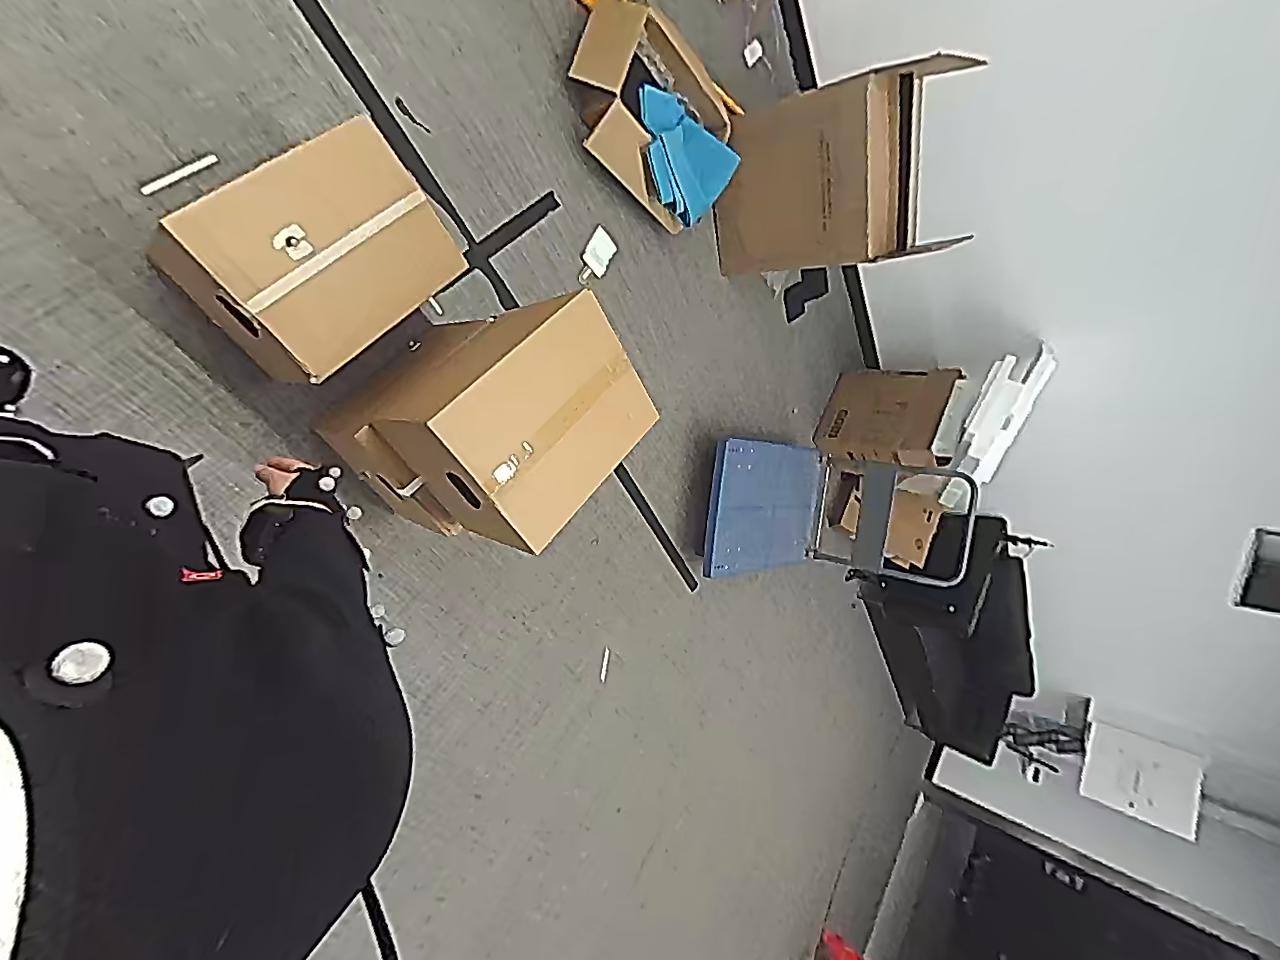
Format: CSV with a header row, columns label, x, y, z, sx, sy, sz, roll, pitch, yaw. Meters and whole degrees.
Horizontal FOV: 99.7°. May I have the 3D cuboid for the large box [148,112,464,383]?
label,x,y,z,sx,sy,sz,roll,pitch,yaw
large box,-0.649,-0.444,1.083,0.408,0.320,0.320,-52,129,-25
